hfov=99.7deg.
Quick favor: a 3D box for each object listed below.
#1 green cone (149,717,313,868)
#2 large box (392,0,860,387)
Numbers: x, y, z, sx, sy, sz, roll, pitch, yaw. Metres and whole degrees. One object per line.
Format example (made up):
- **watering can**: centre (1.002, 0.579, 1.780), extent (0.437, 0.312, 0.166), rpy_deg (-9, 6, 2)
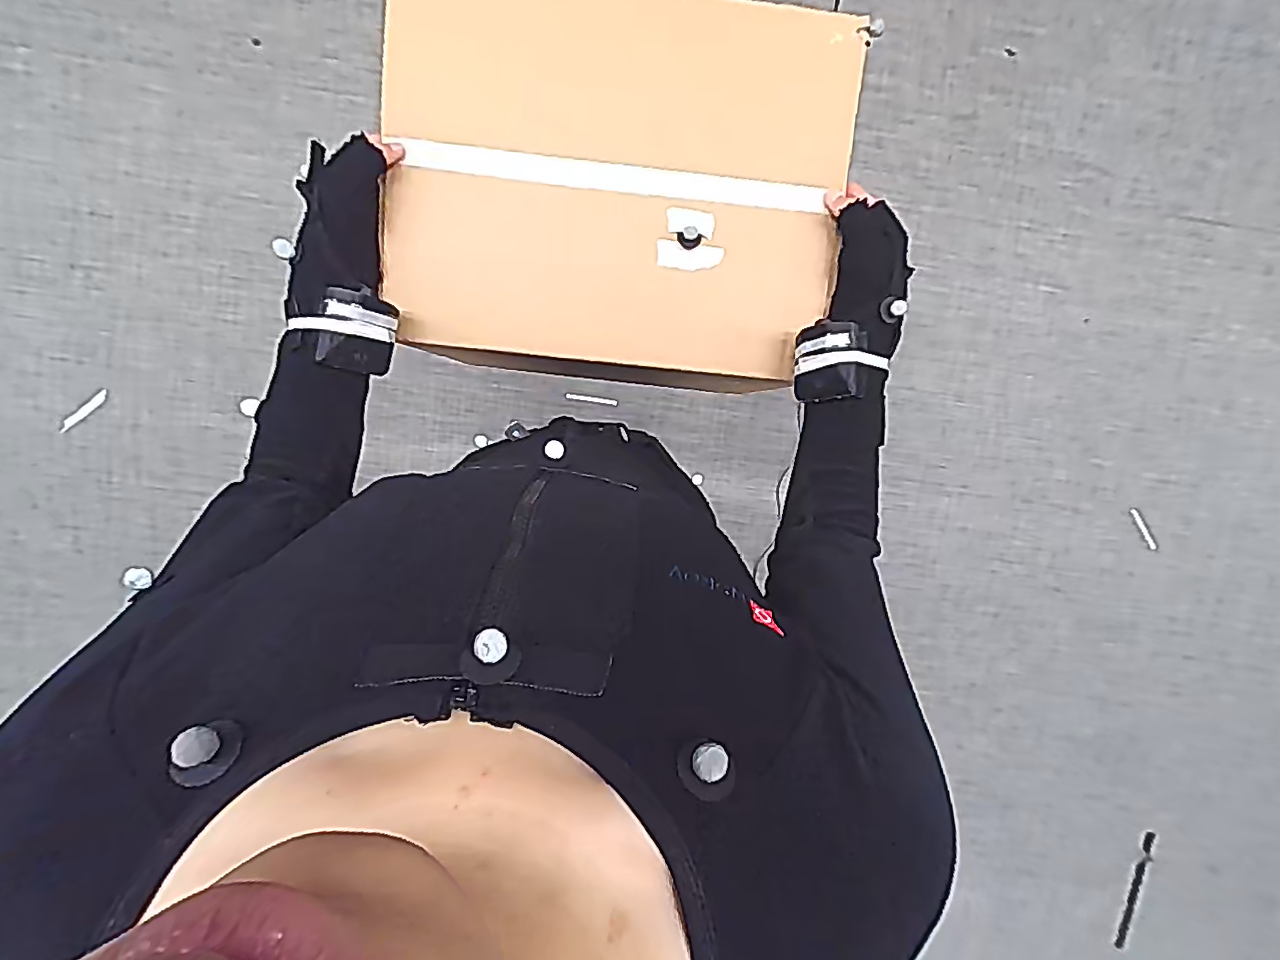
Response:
- **green cone**: centre (-1.054, 0.807, 1.360), extent (0.202, 0.368, 0.200), rpy_deg (-30, 96, 3)
- **large box**: centre (-0.024, -0.285, 0.626), extent (0.408, 0.320, 0.320), rpy_deg (5, 97, -4)
